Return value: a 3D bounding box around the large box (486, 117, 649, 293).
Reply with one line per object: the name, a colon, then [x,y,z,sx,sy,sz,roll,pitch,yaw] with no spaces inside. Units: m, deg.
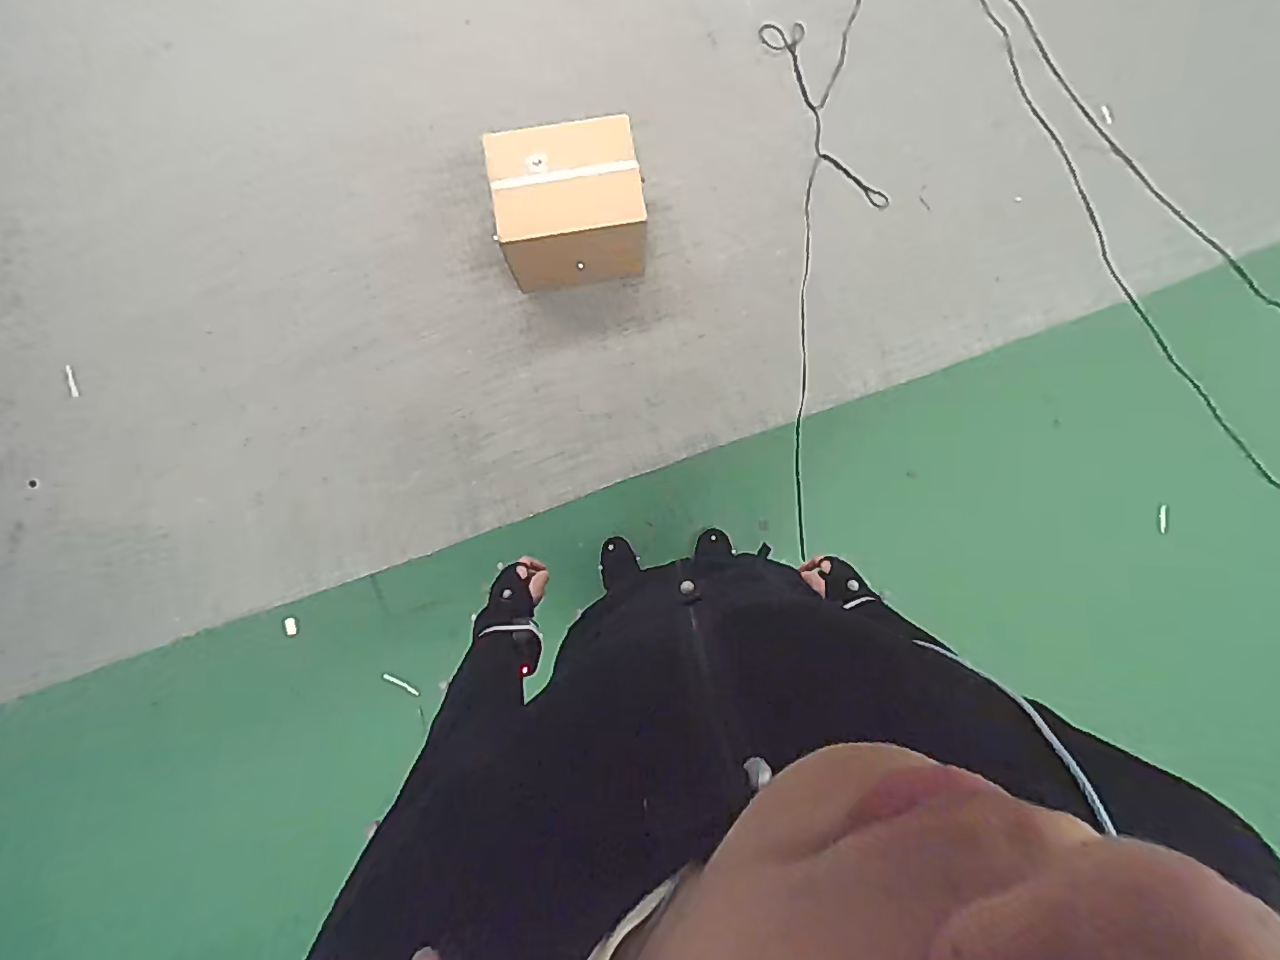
large box: [-0.196,-0.792,1.602,0.408,0.320,0.320,-9,84,-1]
